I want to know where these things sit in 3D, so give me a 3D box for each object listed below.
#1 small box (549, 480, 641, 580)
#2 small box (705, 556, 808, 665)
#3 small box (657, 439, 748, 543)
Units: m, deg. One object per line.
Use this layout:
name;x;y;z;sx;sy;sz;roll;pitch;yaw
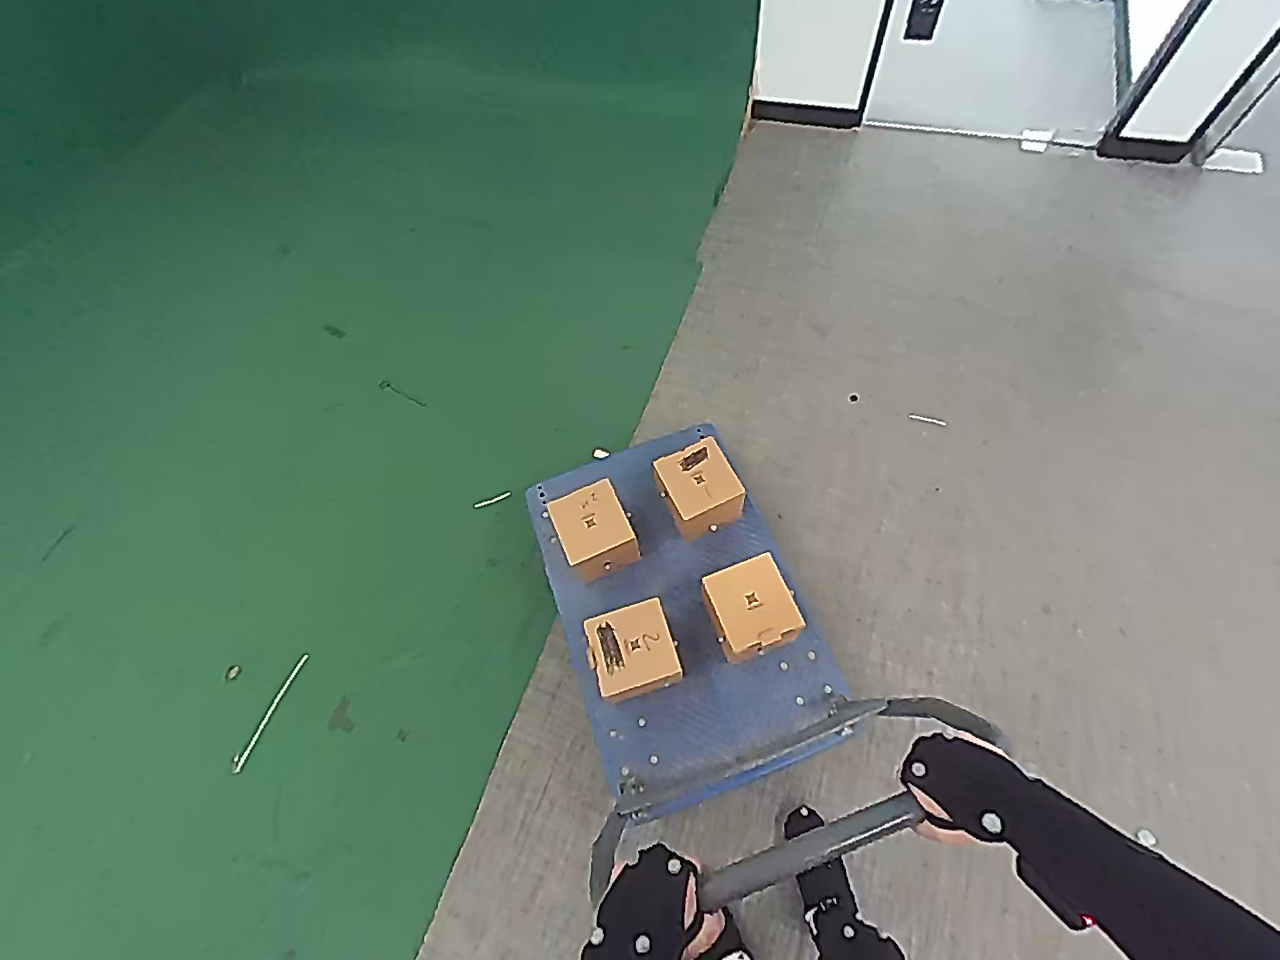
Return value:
small box;-0.106;0.134;1.340;0.168;0.176;0.179;-23;64;-7
small box;0.252;0.301;1.228;0.168;0.176;0.179;-20;65;-4
small box;0.154;0.033;1.365;0.168;0.176;0.179;-24;65;-6
